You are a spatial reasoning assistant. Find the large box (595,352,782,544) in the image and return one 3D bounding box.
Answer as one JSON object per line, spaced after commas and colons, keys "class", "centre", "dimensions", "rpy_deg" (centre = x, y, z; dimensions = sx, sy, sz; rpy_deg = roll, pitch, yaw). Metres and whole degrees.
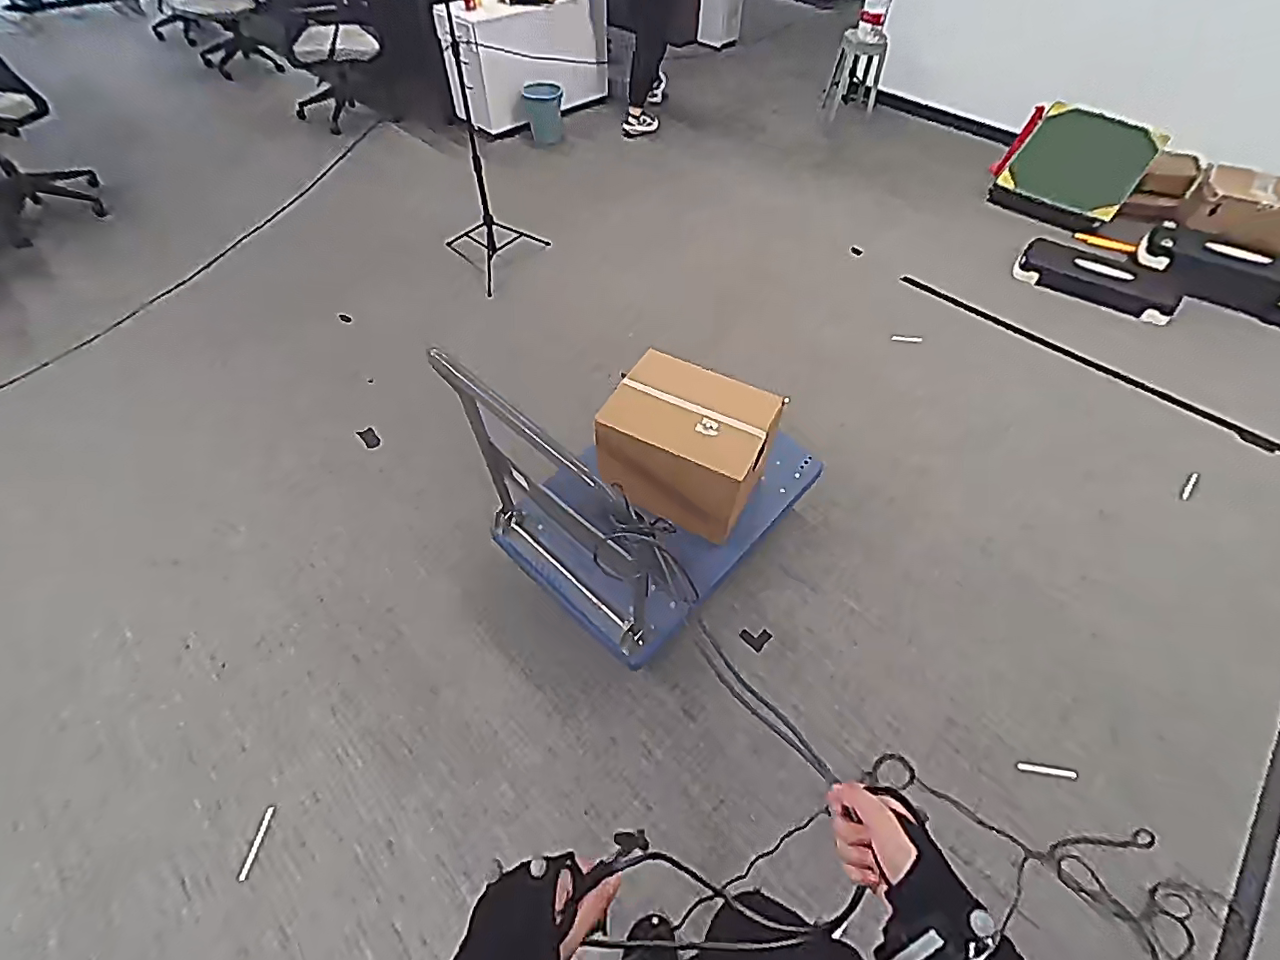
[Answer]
{"class": "large box", "centre": [0.121, -0.087, 1.493], "dimensions": [0.408, 0.320, 0.320], "rpy_deg": [24, 57, 14]}
